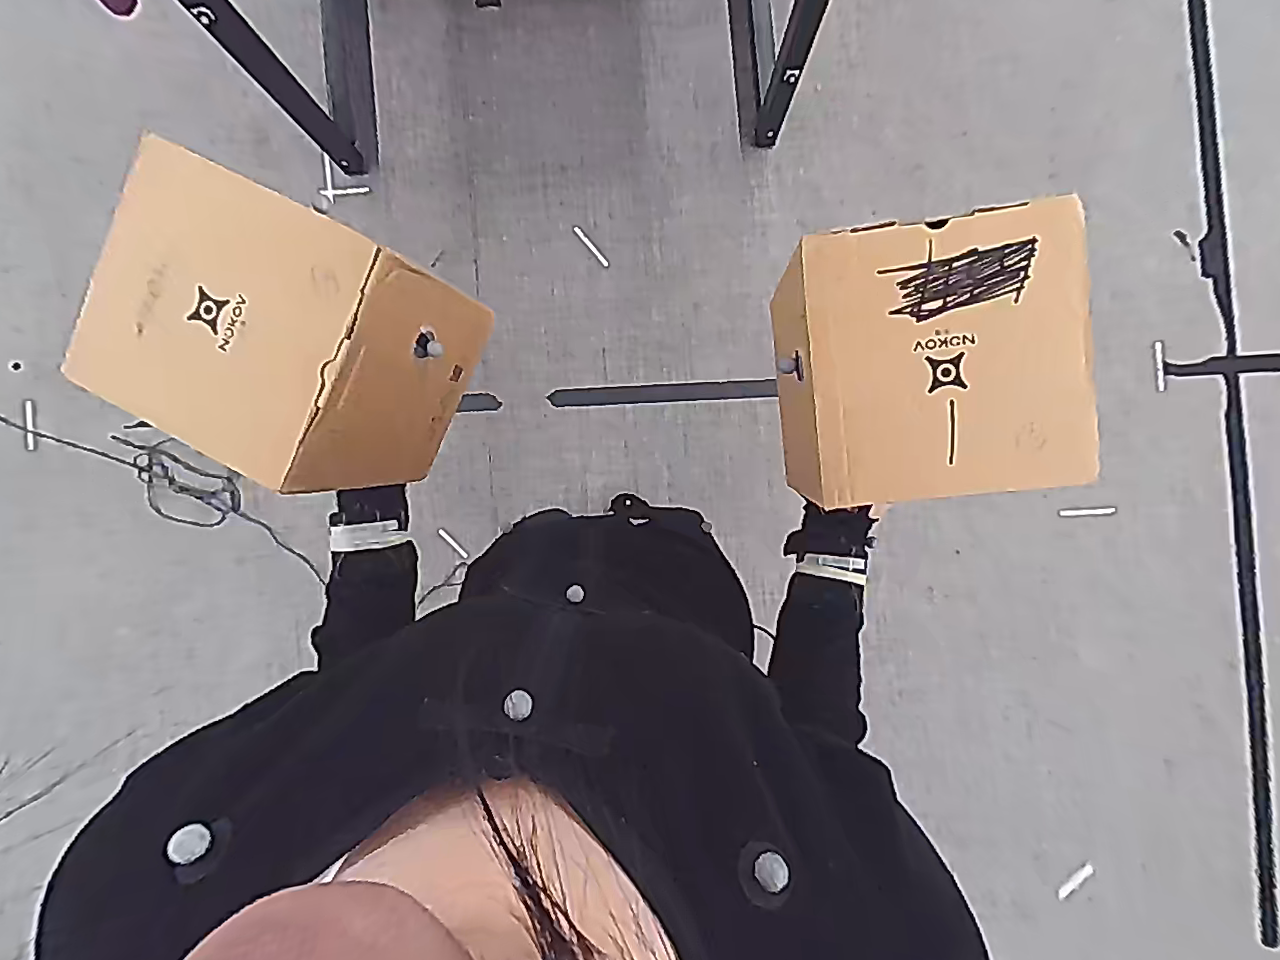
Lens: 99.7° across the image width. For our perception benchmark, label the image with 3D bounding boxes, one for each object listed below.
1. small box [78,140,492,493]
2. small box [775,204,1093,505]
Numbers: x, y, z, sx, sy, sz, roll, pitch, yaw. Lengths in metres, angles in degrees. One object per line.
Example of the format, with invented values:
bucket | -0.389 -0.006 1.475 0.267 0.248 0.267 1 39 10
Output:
small box | -0.242 -0.106 0.413 0.179 0.176 0.168 26 96 6
small box | 0.203 -0.082 0.421 0.168 0.176 0.179 -6 94 7
